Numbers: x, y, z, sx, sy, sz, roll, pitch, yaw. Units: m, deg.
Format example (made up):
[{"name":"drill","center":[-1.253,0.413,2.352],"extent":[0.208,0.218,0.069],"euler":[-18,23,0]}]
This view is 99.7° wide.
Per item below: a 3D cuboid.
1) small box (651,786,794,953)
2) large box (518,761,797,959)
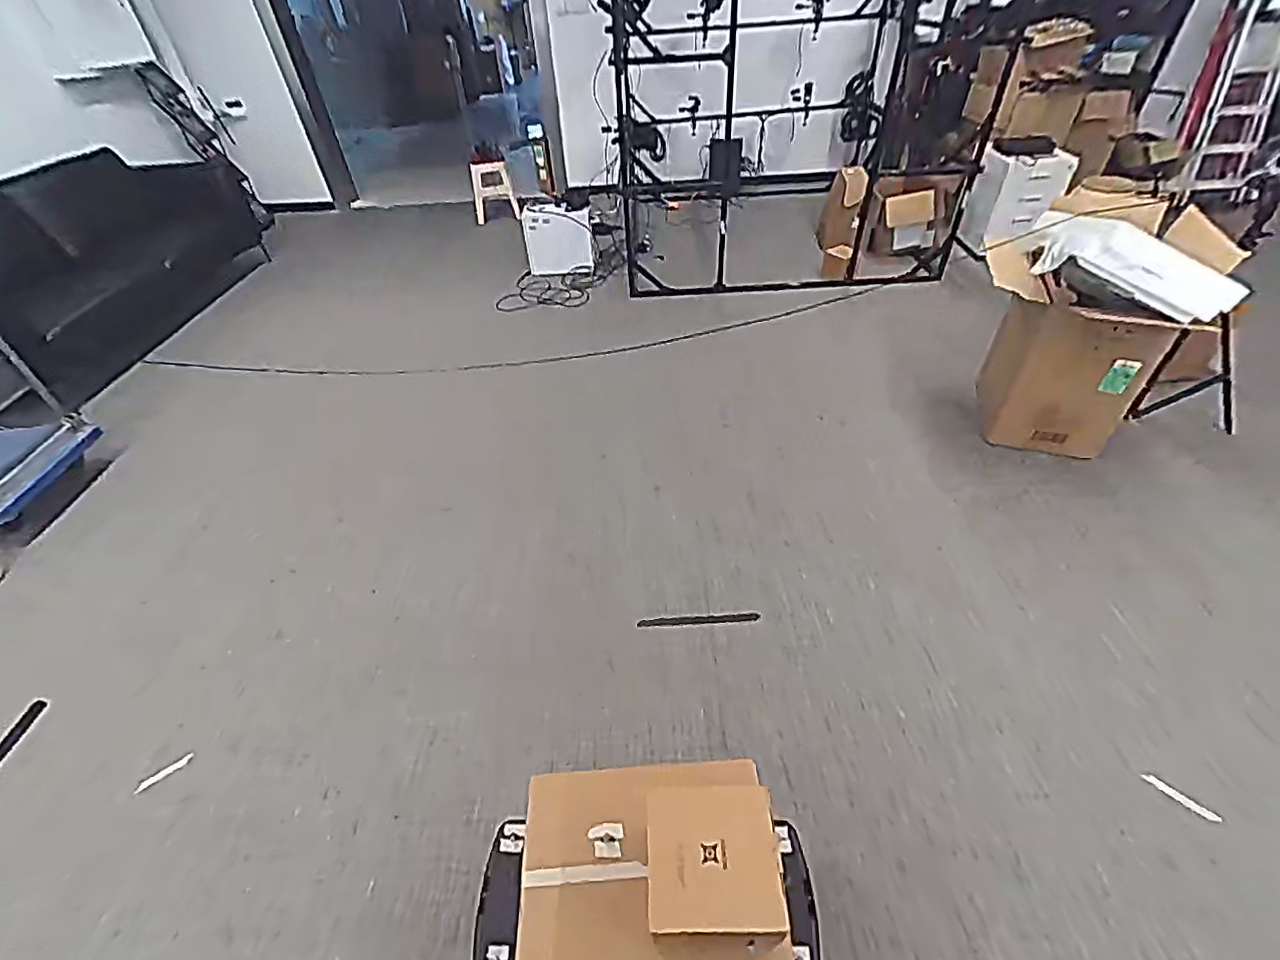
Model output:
[{"name":"small box","center":[0.105,0.551,0.767],"extent":[0.179,0.176,0.168],"euler":[-2,43,3]},{"name":"large box","center":[0.027,0.727,0.945],"extent":[0.408,0.320,0.320],"euler":[-5,42,0]}]
